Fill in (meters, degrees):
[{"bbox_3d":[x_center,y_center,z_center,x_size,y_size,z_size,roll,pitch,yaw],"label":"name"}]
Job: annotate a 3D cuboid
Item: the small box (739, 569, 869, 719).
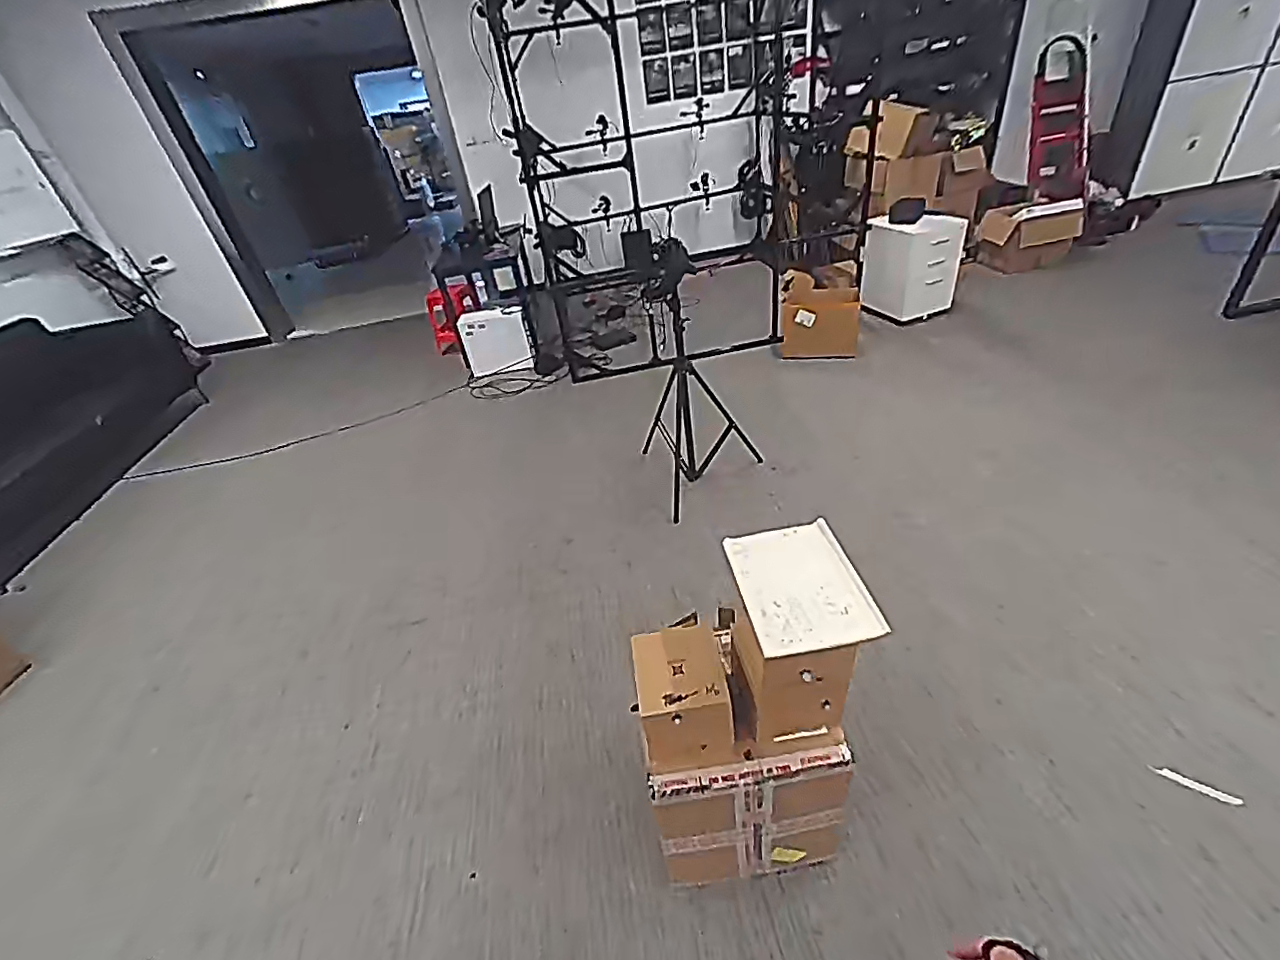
[{"bbox_3d":[0.274,0.287,0.953,0.168,0.176,0.179,-9,37,-3],"label":"small box"}]
